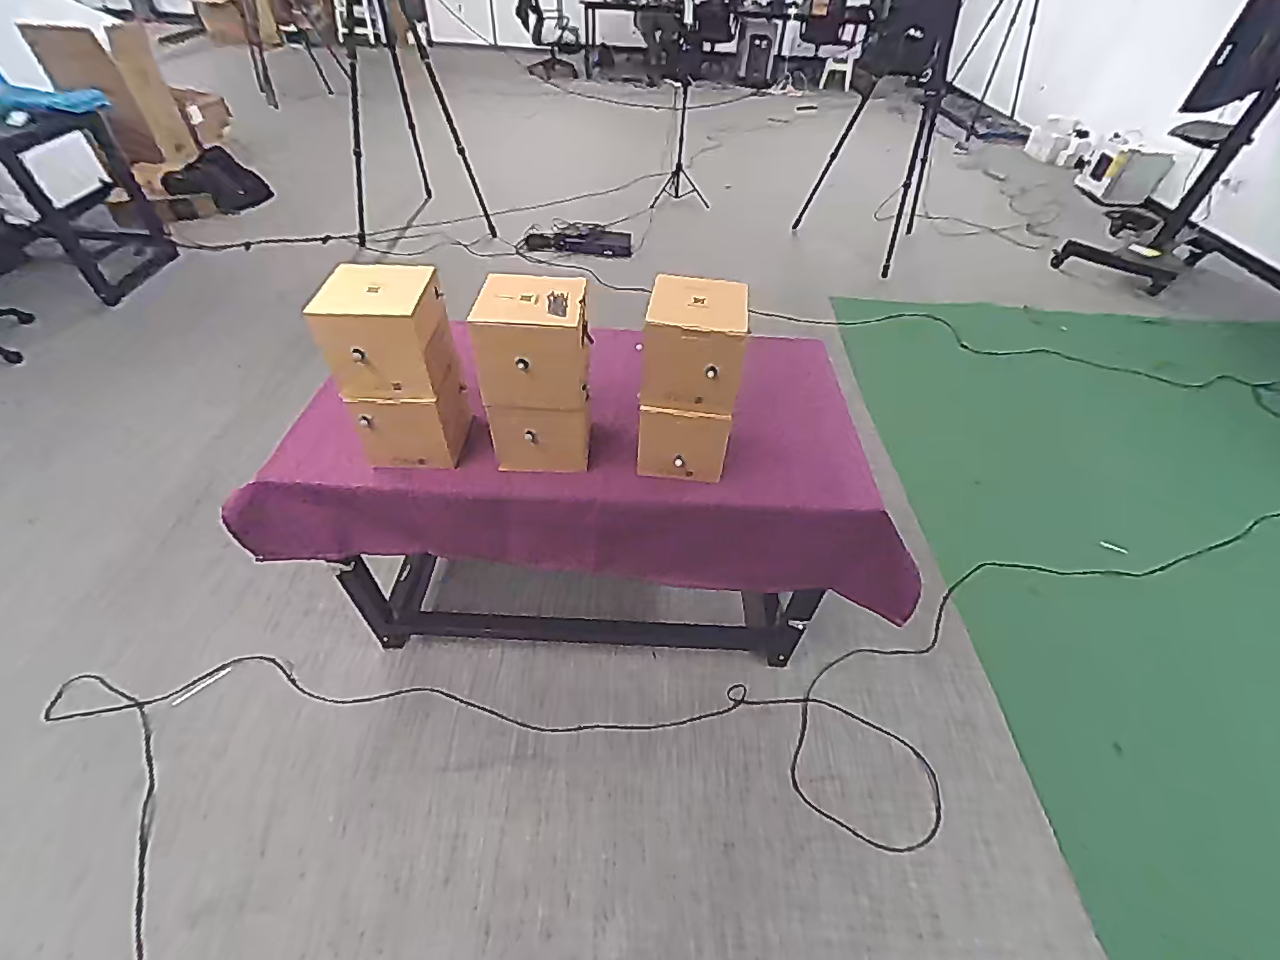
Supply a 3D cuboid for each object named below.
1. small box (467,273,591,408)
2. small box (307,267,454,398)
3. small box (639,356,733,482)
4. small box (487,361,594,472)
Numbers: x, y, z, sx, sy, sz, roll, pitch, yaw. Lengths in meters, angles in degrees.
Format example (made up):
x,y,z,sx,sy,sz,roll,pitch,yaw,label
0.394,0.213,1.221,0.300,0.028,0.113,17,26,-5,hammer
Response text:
x,y,z,sx,sy,sz,roll,pitch,yaw,label
-0.181,-0.241,0.947,0.179,0.176,0.168,2,46,1,small box
-0.441,-0.258,0.955,0.168,0.176,0.179,0,45,-3,small box
0.090,-0.121,1.071,0.168,0.176,0.179,6,46,4,small box
-0.187,-0.131,1.070,0.179,0.176,0.168,2,47,-1,small box
